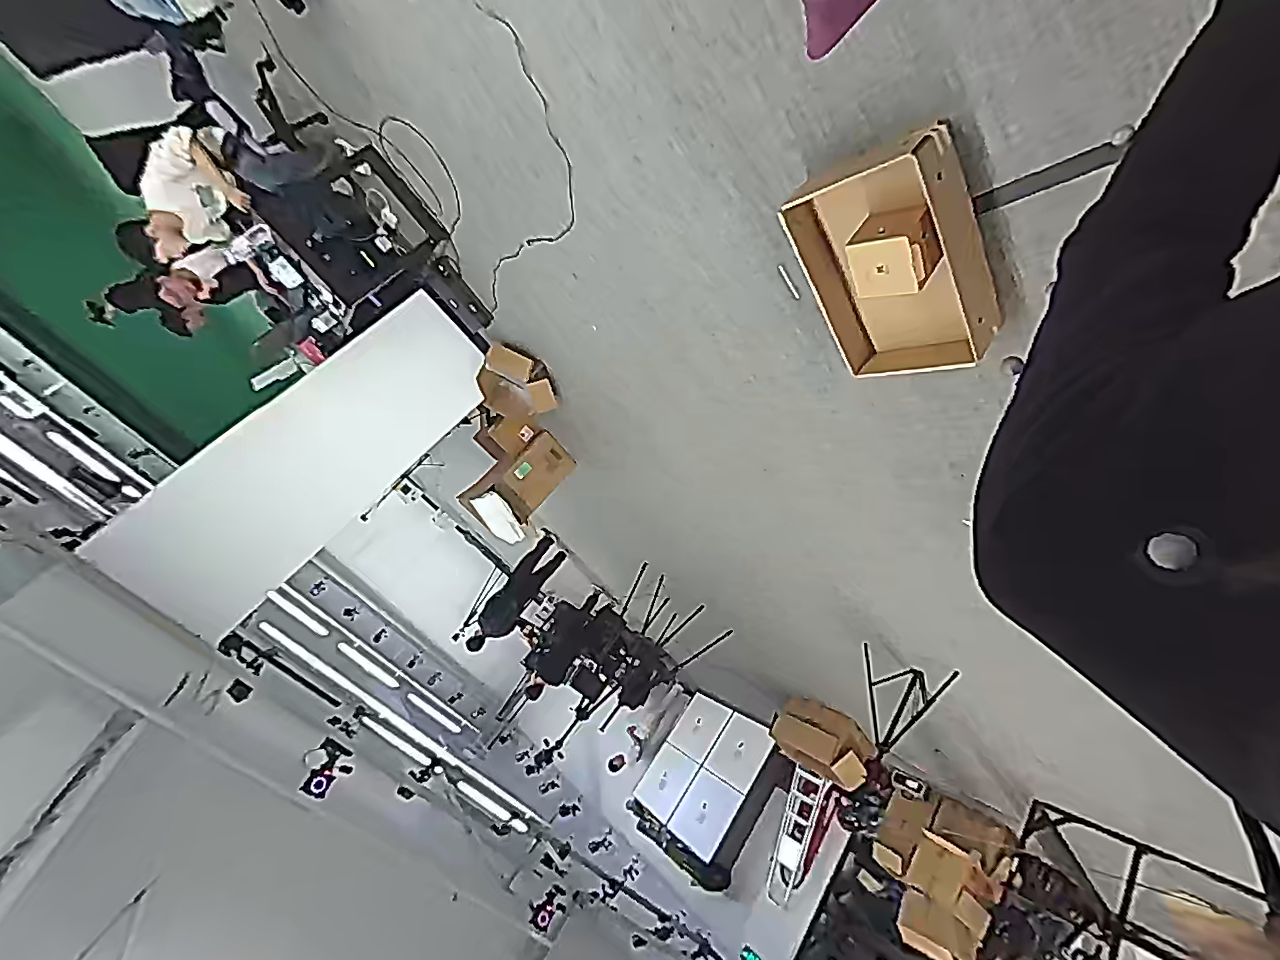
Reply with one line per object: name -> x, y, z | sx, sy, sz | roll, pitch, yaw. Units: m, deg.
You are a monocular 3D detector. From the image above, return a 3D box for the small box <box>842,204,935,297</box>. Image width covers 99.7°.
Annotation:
small box -> 0.688, -0.628, 1.481 | 0.179, 0.176, 0.168 | 13, 146, 46
